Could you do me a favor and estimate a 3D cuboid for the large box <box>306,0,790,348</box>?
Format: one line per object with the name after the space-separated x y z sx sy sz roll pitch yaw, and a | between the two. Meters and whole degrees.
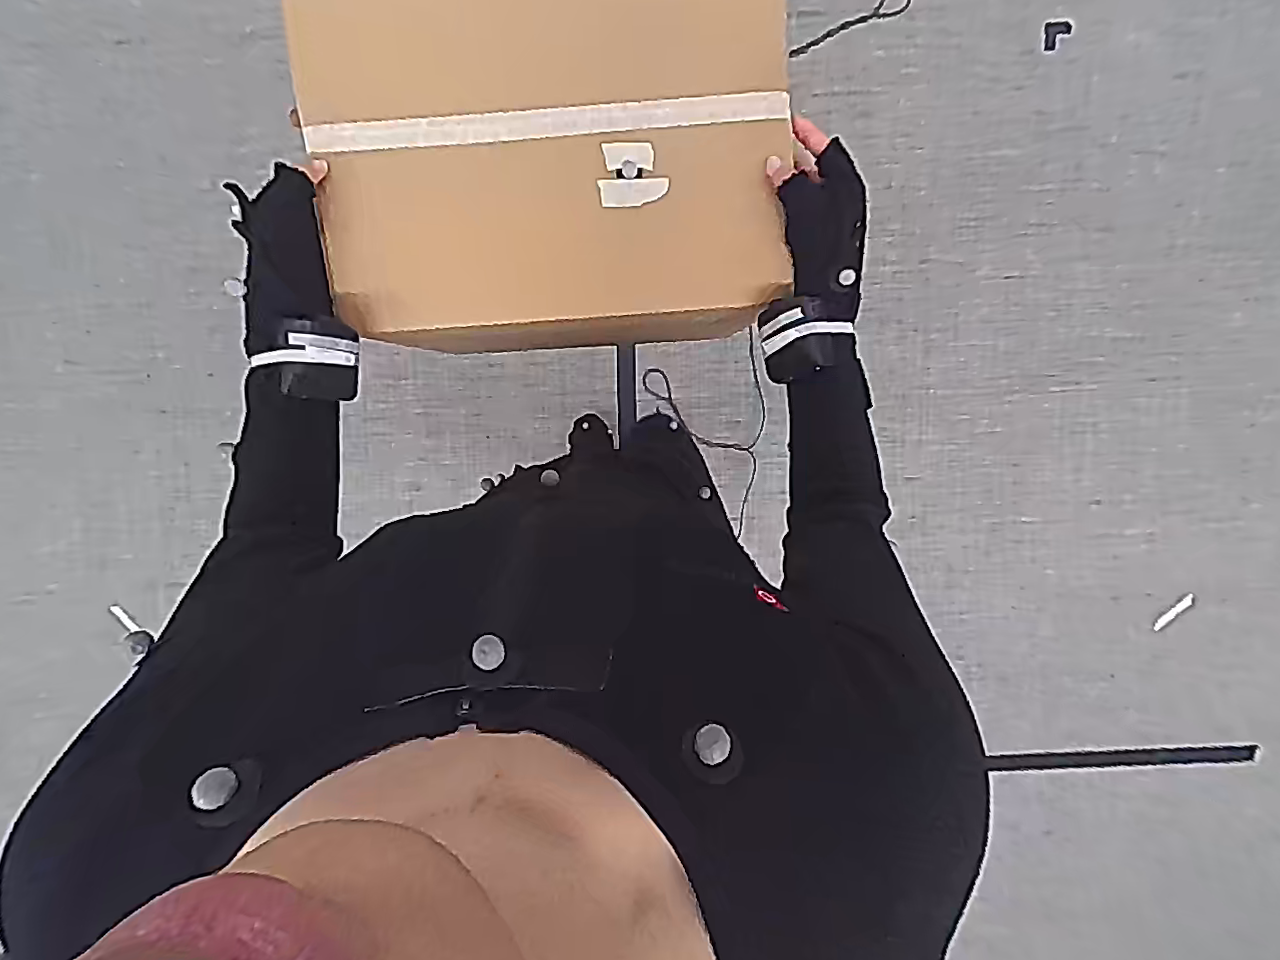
-0.076 -0.333 0.614 0.408 0.320 0.320 -4 101 -1 | large box
